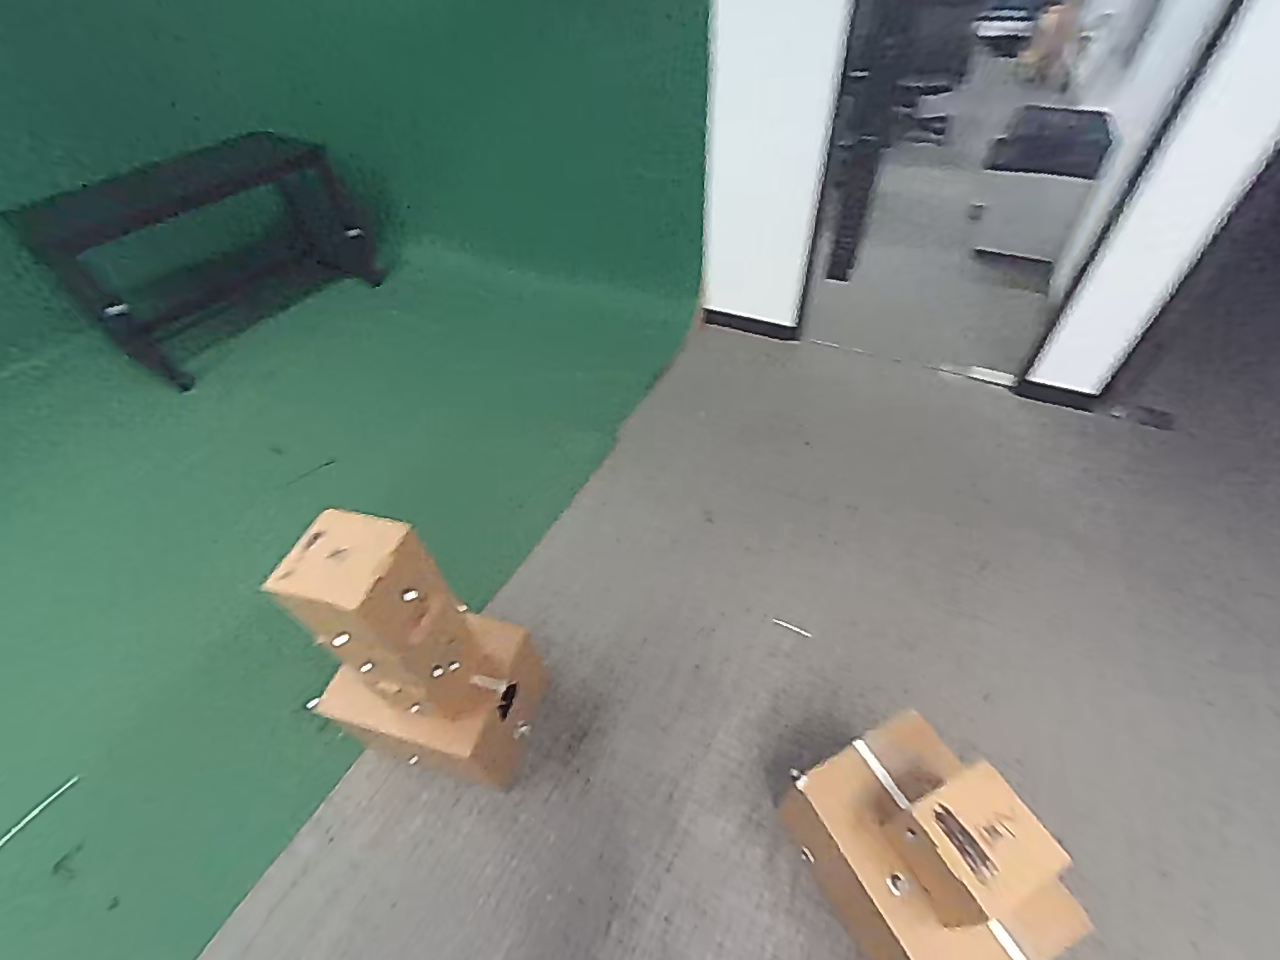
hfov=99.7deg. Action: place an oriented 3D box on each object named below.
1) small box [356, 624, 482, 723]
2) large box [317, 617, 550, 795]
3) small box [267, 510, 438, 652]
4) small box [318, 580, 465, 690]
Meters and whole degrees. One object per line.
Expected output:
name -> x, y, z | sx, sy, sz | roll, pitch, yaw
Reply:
small box -> -0.470, 0.406, 1.186 | 0.168, 0.176, 0.179 | 10, 49, 13
large box -> -0.492, 0.556, 1.382 | 0.408, 0.320, 0.320 | 9, 47, 14
small box -> -0.486, 0.180, 0.948 | 0.179, 0.176, 0.168 | 11, 49, 12
small box -> -0.475, 0.294, 1.067 | 0.179, 0.176, 0.168 | 9, 49, 13
